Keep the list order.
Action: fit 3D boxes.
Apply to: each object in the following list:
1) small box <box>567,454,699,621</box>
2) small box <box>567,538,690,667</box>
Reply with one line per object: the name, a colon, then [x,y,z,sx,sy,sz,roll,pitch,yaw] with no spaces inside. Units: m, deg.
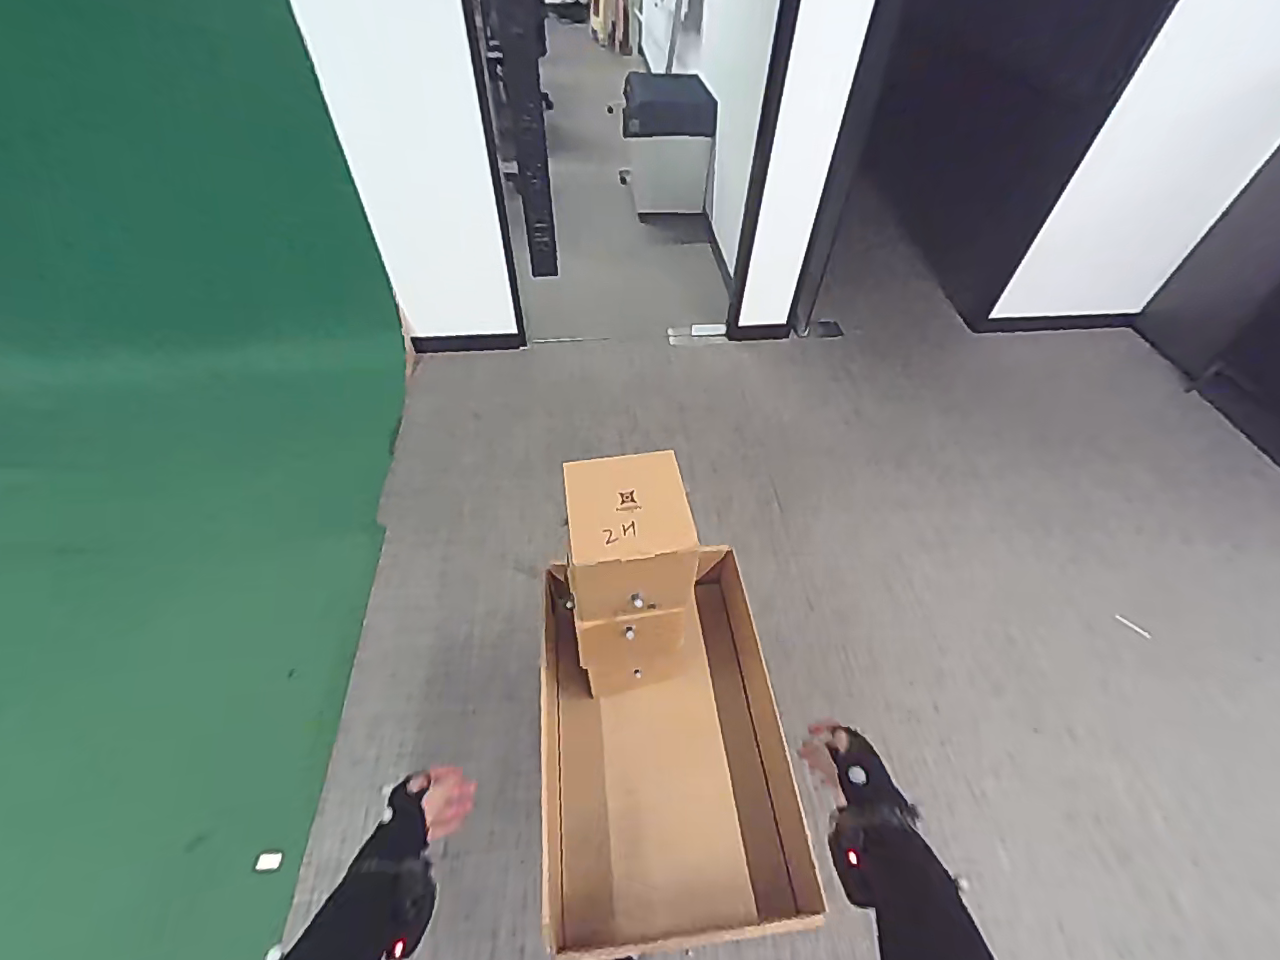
small box: [-0.017,0.086,0.803,0.168,0.176,0.179,-7,52,-6]
small box: [-0.025,0.200,0.923,0.179,0.176,0.168,-8,51,-7]
